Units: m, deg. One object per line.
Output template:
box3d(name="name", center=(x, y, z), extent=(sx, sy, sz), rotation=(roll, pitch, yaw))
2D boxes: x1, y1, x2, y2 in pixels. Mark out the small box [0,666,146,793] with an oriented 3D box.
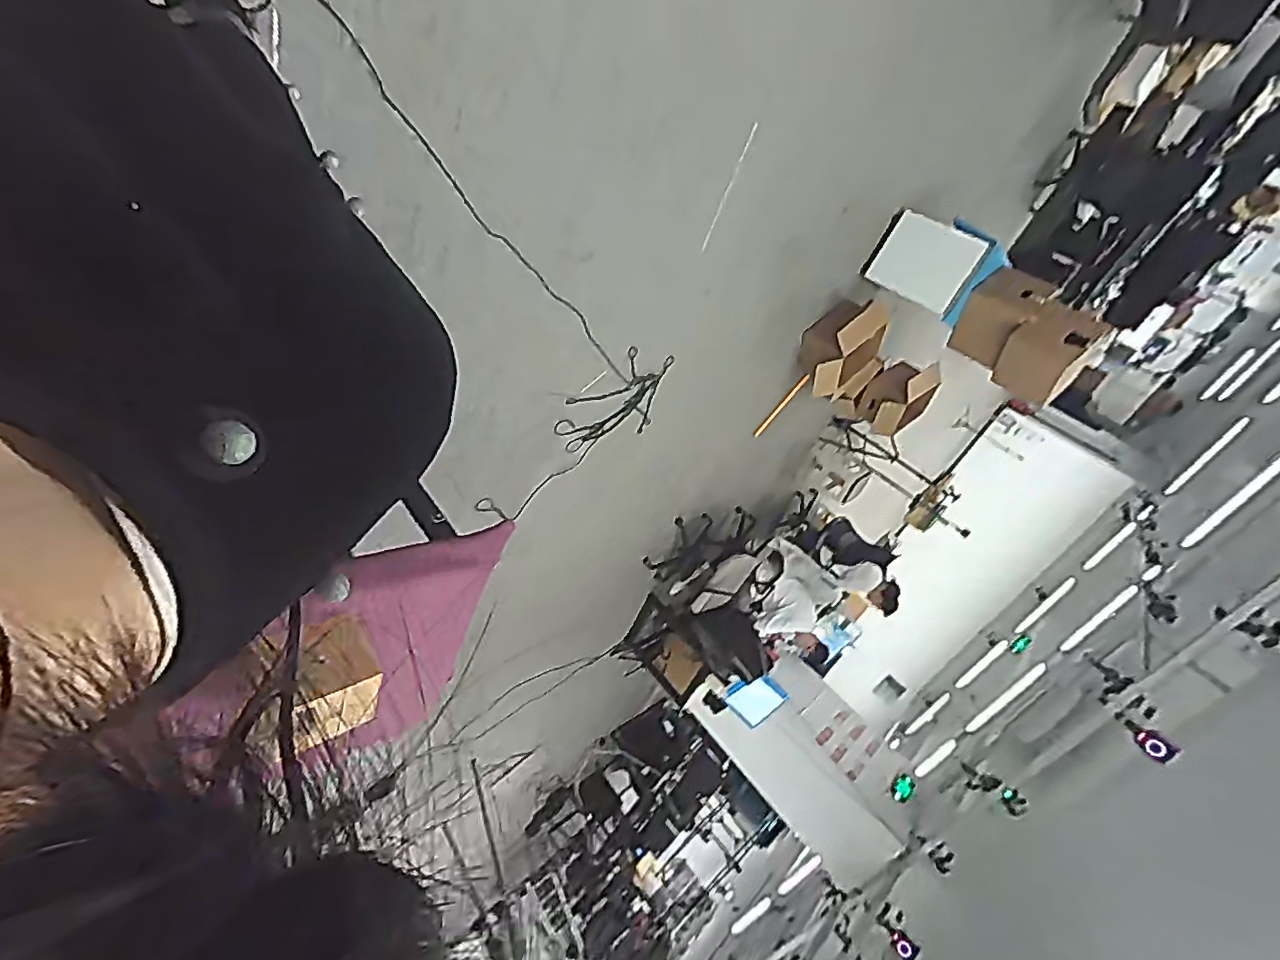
box3d(name="small box", center=(-0.847, 0.413, 0.797), extent=(0.168, 0.176, 0.179), rotation=(-16, 139, -44))
